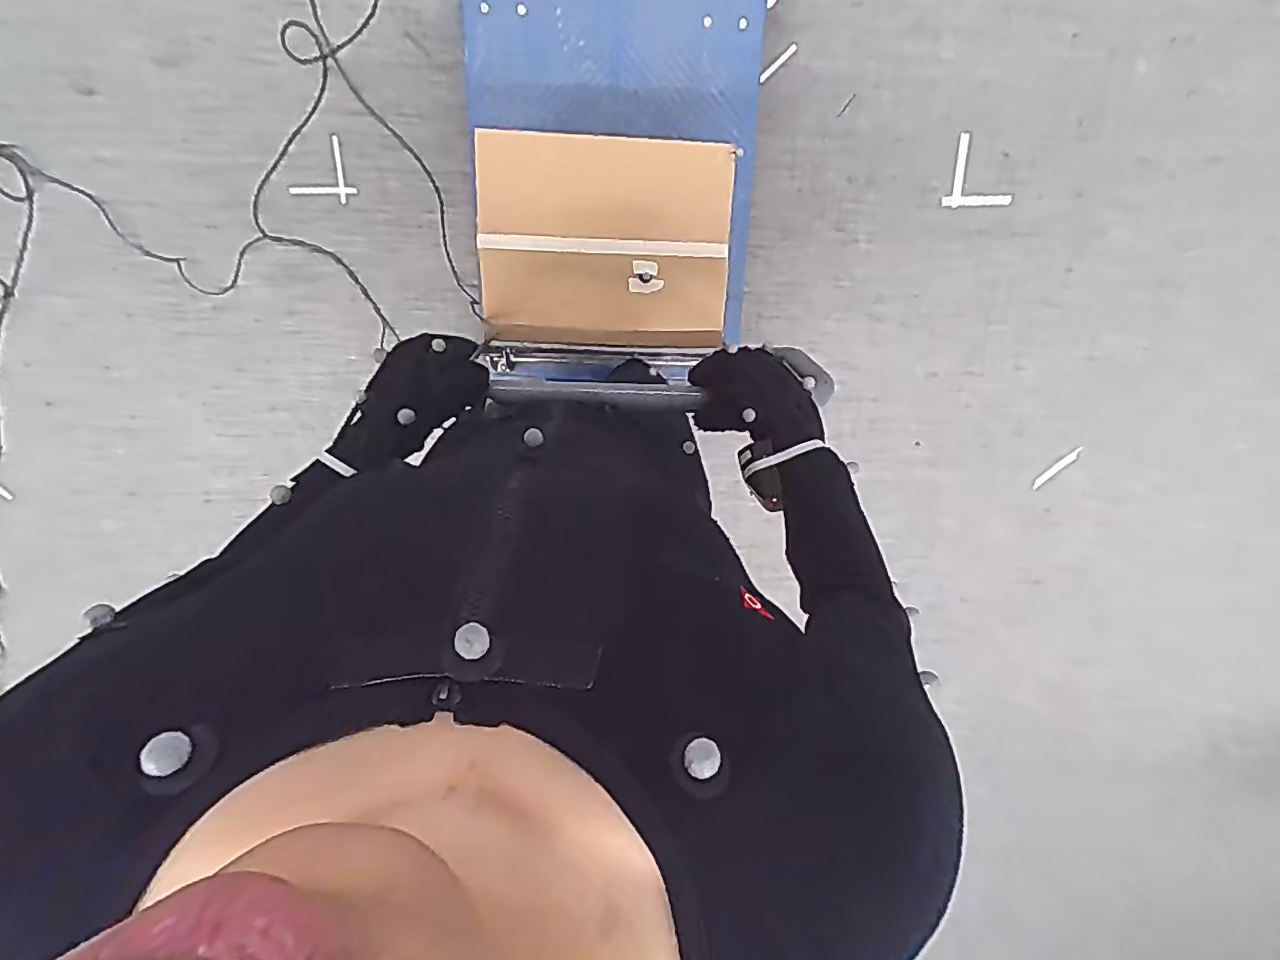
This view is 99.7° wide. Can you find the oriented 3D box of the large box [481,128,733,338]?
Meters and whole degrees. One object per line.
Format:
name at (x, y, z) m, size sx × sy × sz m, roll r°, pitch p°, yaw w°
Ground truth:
large box at (-0.064, -0.440, 1.033) m, size 0.408 × 0.320 × 0.320 m, roll 0°, pitch 108°, yaw -5°
